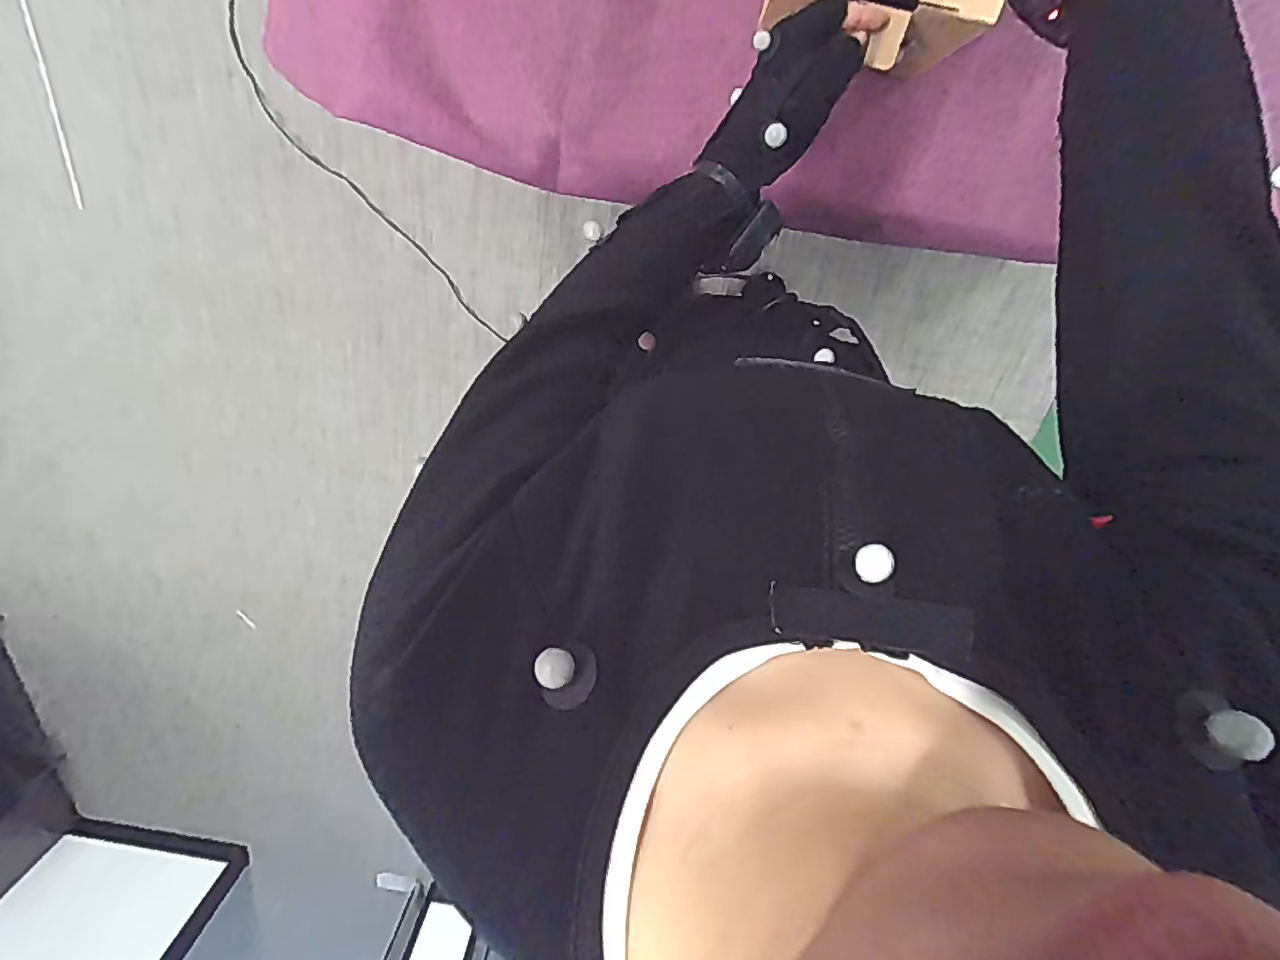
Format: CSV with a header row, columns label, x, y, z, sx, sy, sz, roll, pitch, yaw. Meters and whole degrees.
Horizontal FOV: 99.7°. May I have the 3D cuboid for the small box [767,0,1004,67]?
label,x,y,z,sx,sy,sz,roll,pitch,yaw
small box,0.207,-0.463,0.426,0.168,0.176,0.179,13,116,-1
